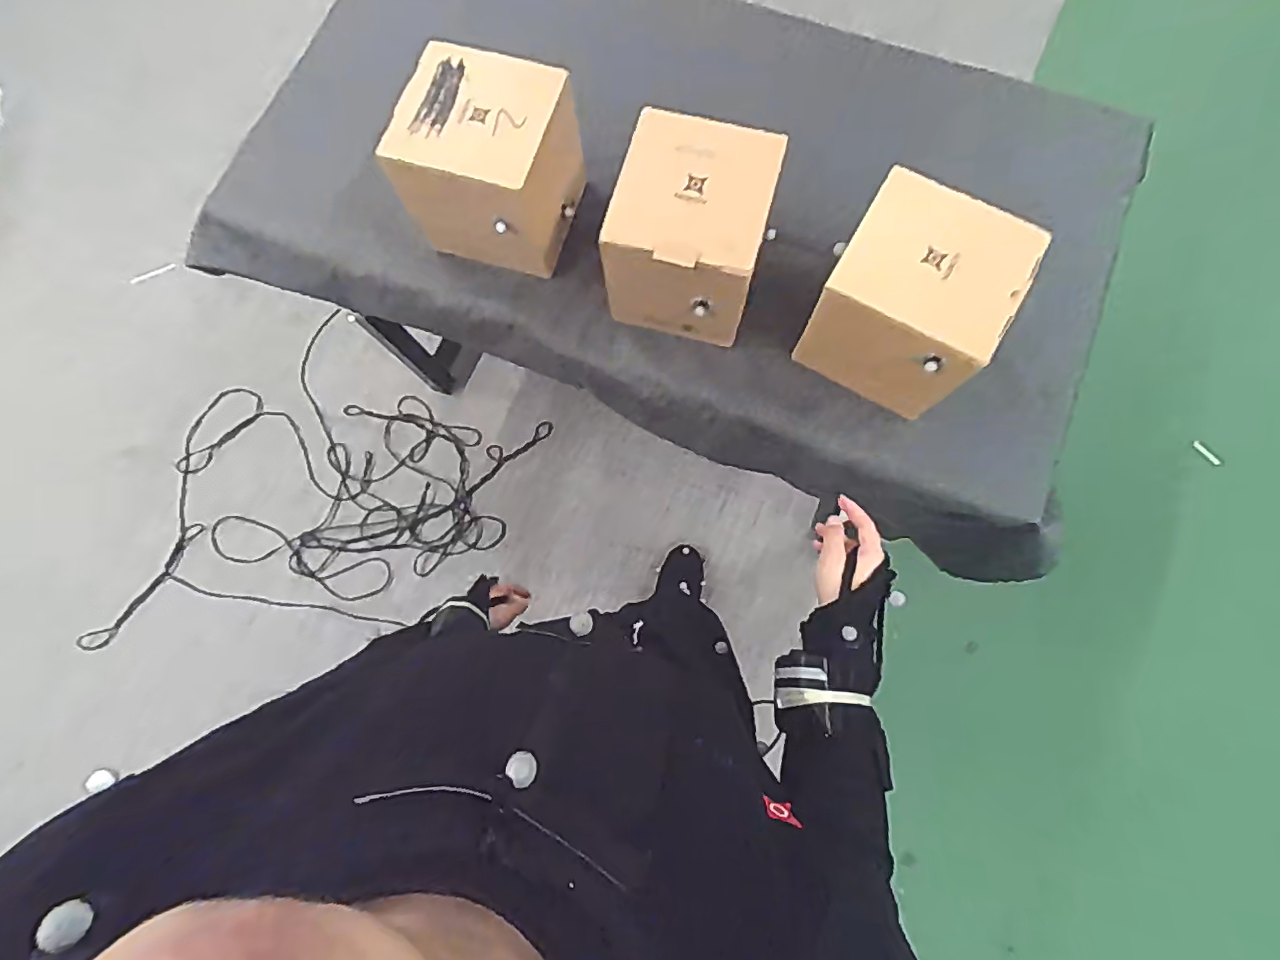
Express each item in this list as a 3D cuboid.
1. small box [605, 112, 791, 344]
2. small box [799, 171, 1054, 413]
[{"bbox_3d":[0.066,-0.290,0.654,0.168,0.176,0.179,15,77,4],"label":"small box"},{"bbox_3d":[0.309,-0.201,0.624,0.179,0.176,0.168,29,80,8],"label":"small box"}]
